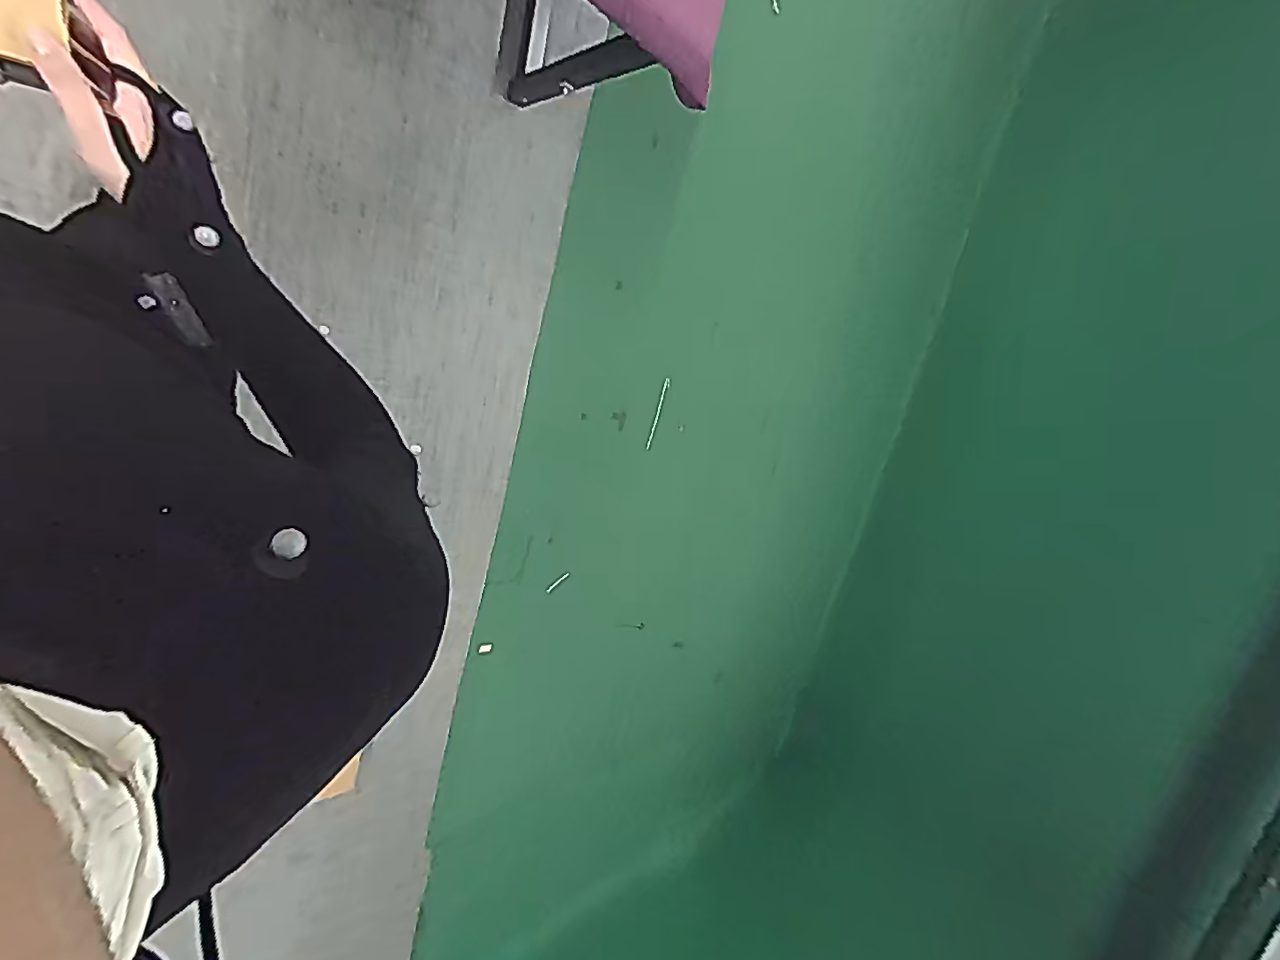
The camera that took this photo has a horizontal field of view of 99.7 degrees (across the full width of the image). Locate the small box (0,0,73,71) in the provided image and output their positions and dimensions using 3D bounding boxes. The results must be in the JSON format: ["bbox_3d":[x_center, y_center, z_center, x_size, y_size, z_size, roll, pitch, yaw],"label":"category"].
[{"bbox_3d":[-0.496,-0.394,0.344,0.179,0.176,0.168,-8,117,-45],"label":"small box"}]

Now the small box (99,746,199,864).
[{"bbox_3d":[-1.275,0.831,1.404,0.179,0.176,0.168,5,106,-46],"label":"small box"}]
